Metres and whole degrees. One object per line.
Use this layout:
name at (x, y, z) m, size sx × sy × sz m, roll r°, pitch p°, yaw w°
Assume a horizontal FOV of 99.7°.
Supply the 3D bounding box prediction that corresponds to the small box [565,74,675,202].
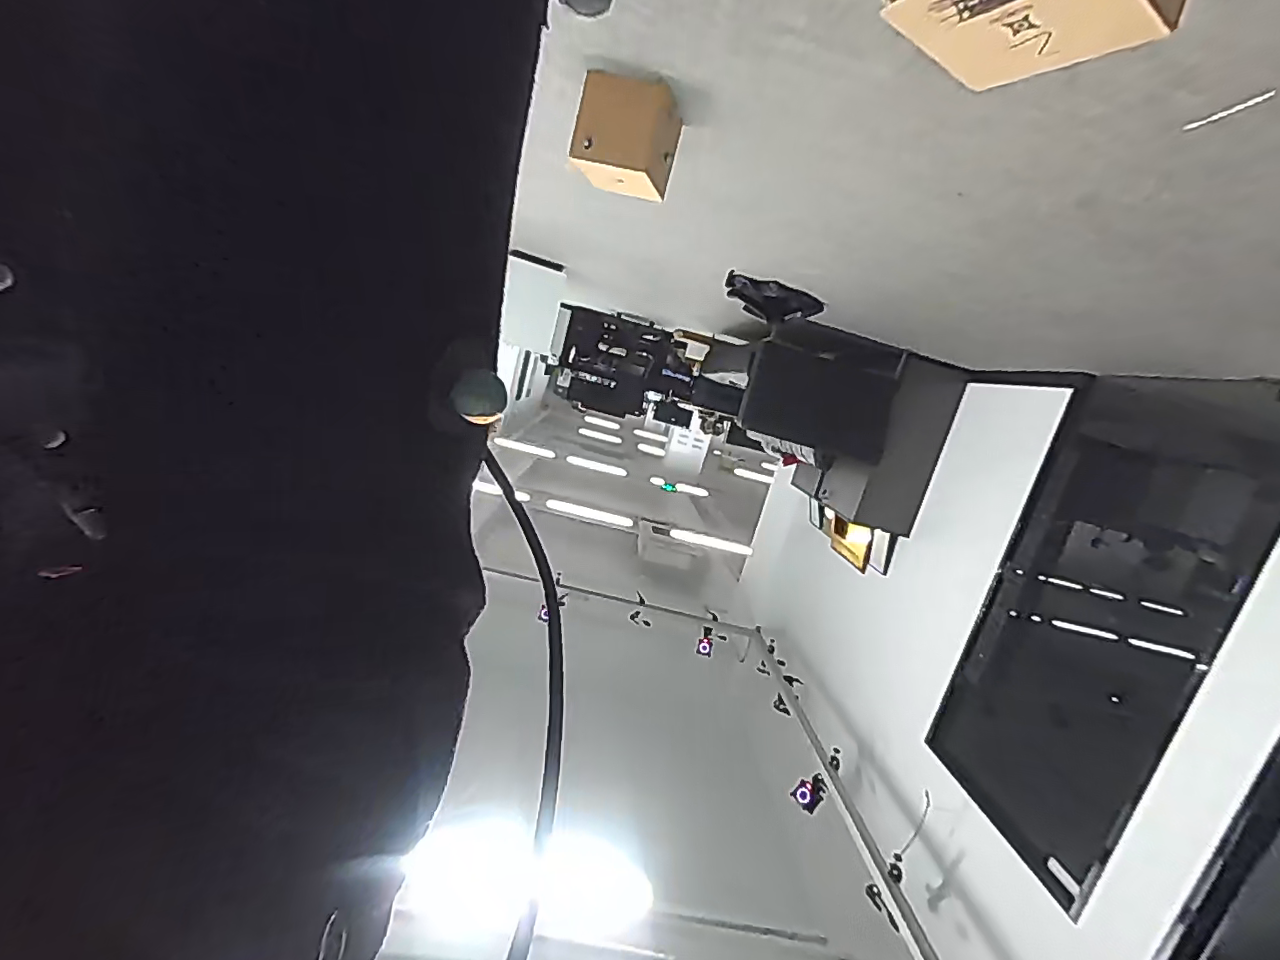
small box at (-0.034, -0.728, 1.158) m, size 0.179 × 0.176 × 0.168 m, roll 19°, pitch -169°, yaw 12°
